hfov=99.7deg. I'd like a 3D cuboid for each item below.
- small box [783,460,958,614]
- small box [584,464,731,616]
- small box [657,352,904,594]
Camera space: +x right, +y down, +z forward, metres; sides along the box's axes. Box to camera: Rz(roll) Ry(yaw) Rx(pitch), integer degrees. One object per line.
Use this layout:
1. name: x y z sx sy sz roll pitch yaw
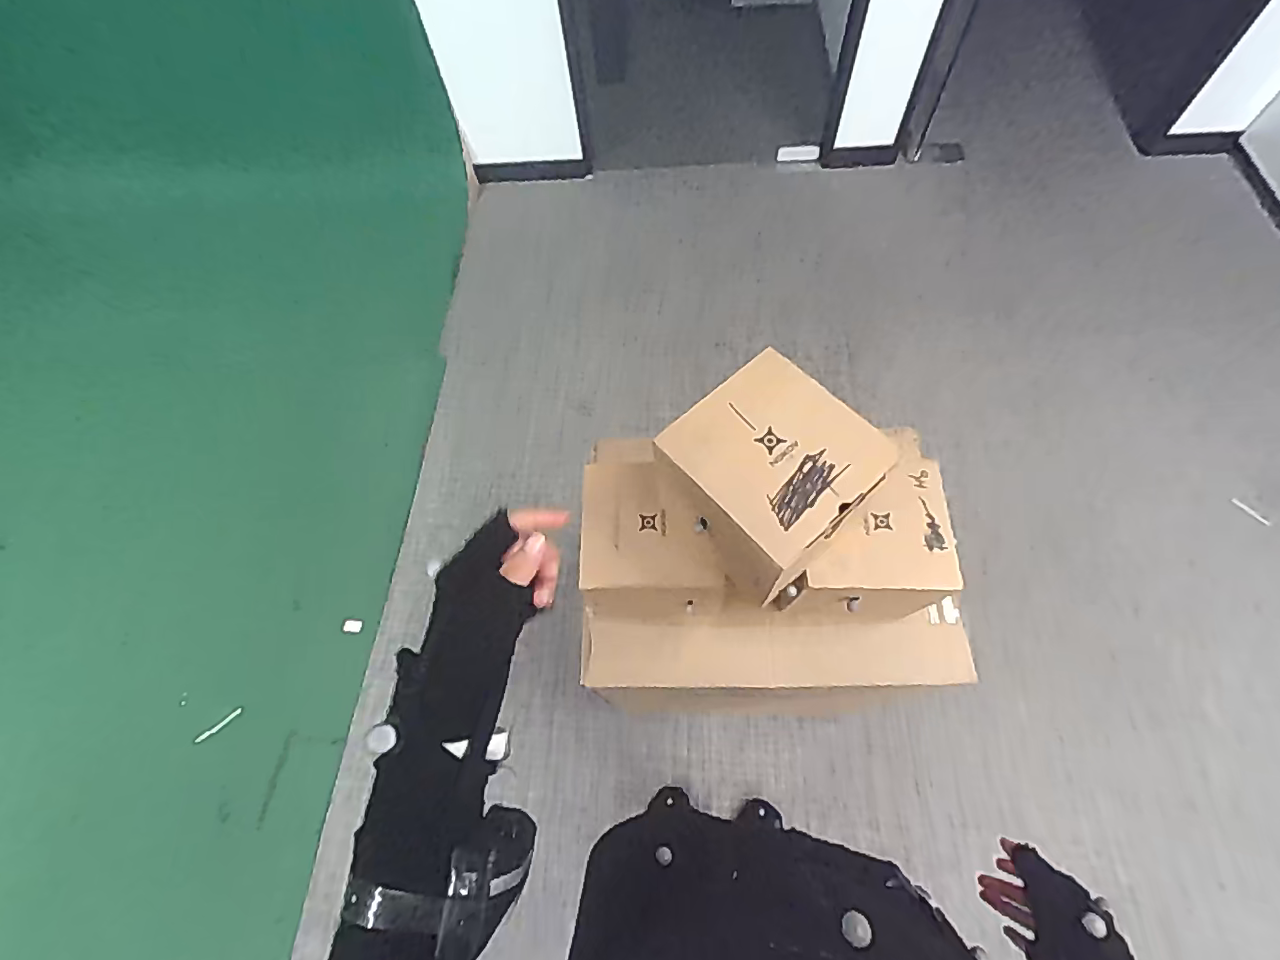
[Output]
1. small box: 0.285 0.083 0.724 0.179 0.176 0.168 0 66 5
2. small box: 0.025 0.088 0.741 0.179 0.176 0.168 -3 64 4
3. small box: 0.139 0.005 0.589 0.168 0.176 0.179 -39 67 -13
